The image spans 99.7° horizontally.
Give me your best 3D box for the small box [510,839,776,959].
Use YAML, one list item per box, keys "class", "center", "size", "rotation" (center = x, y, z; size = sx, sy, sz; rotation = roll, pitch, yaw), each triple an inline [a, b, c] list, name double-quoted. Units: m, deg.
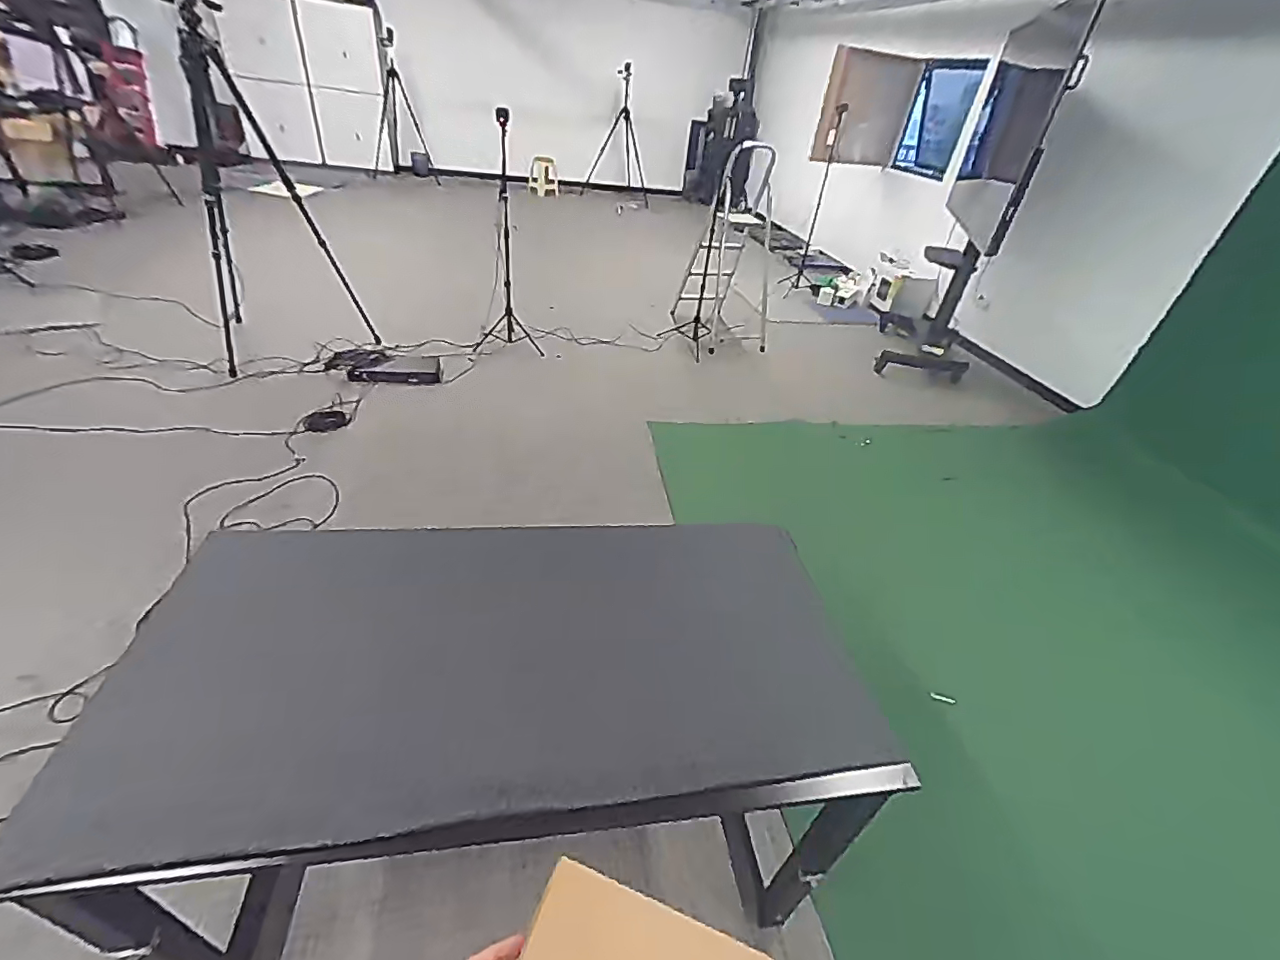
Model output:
- class: "small box"
  center: [-0.027, 0.388, 0.343]
  size: [0.168, 0.176, 0.179]
  rotation: [21, 30, 7]
